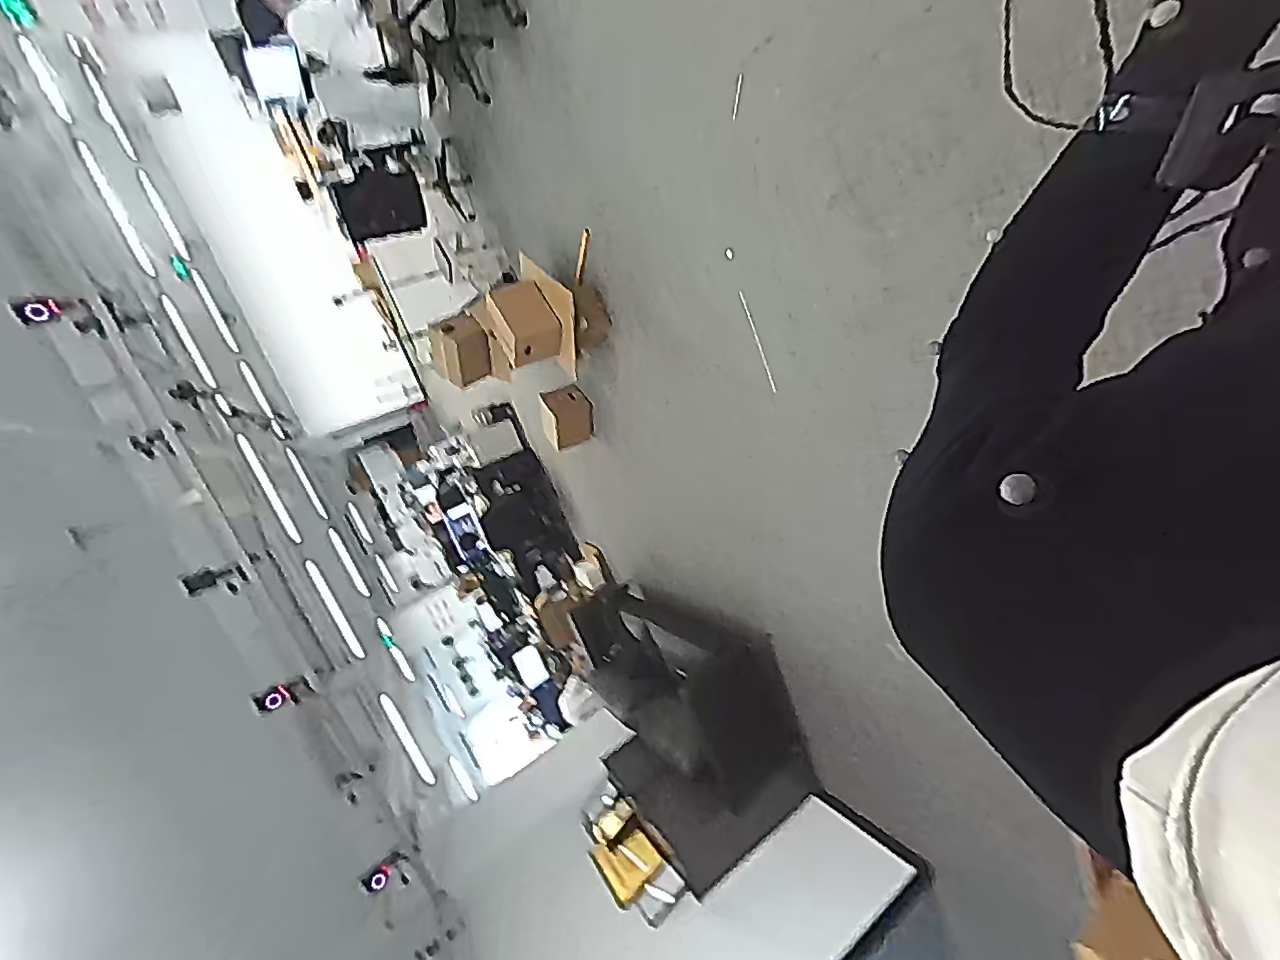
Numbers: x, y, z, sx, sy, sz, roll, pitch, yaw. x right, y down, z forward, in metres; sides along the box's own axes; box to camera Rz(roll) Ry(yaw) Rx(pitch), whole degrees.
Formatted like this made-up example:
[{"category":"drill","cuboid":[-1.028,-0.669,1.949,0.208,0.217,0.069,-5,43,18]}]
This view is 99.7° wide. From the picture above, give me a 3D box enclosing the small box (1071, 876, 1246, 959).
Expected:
[{"category":"small box","cuboid":[0.882,0.833,0.914,0.179,0.176,0.168,6,121,62]}]
